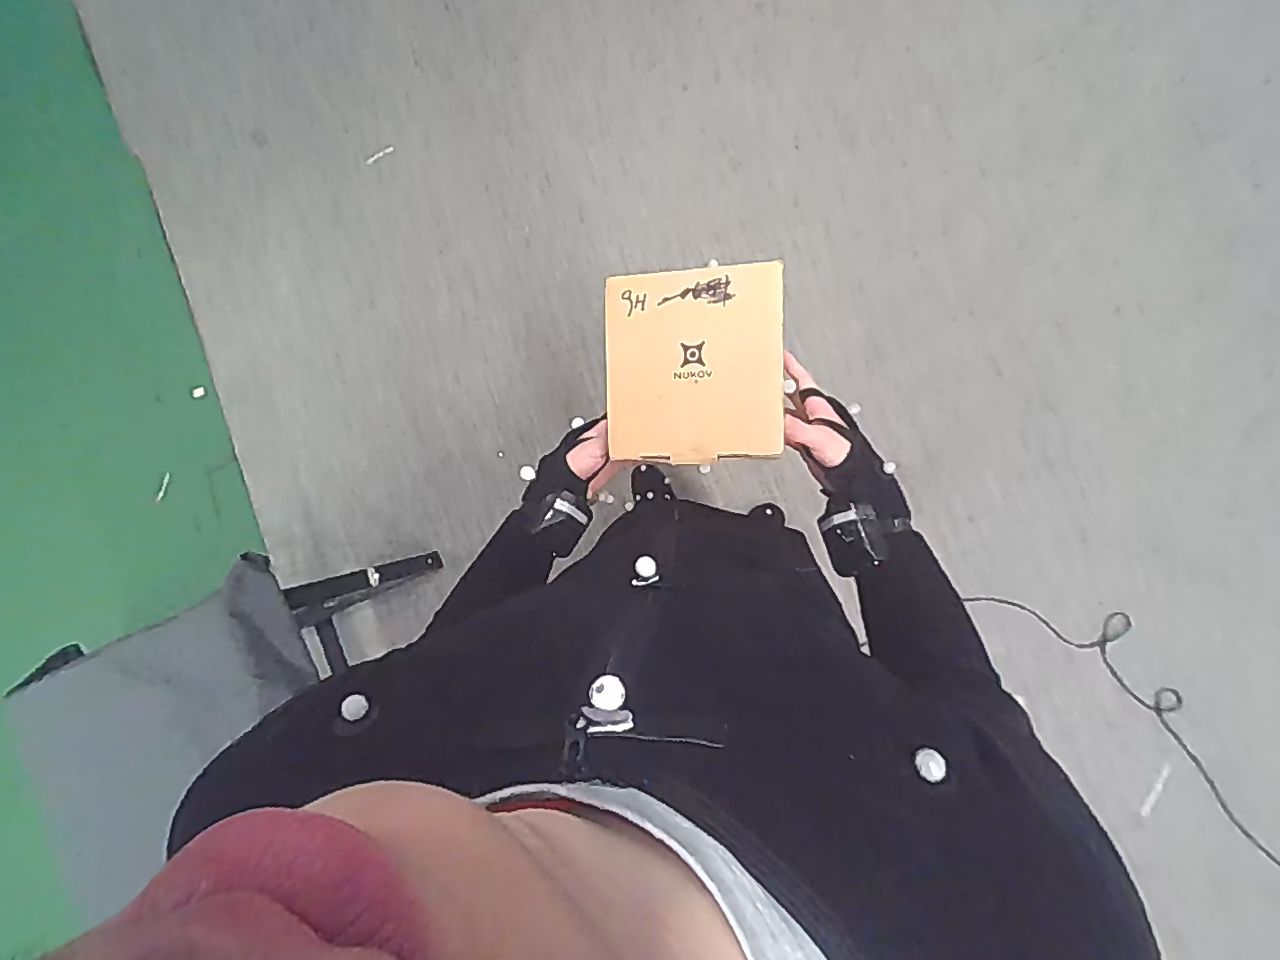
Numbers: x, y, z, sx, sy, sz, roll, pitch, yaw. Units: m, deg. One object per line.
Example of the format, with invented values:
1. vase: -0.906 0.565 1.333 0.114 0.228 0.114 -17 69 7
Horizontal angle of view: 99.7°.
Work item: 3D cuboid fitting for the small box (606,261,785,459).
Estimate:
1. small box: 0.065 -0.113 0.575 0.168 0.176 0.179 0 93 12
